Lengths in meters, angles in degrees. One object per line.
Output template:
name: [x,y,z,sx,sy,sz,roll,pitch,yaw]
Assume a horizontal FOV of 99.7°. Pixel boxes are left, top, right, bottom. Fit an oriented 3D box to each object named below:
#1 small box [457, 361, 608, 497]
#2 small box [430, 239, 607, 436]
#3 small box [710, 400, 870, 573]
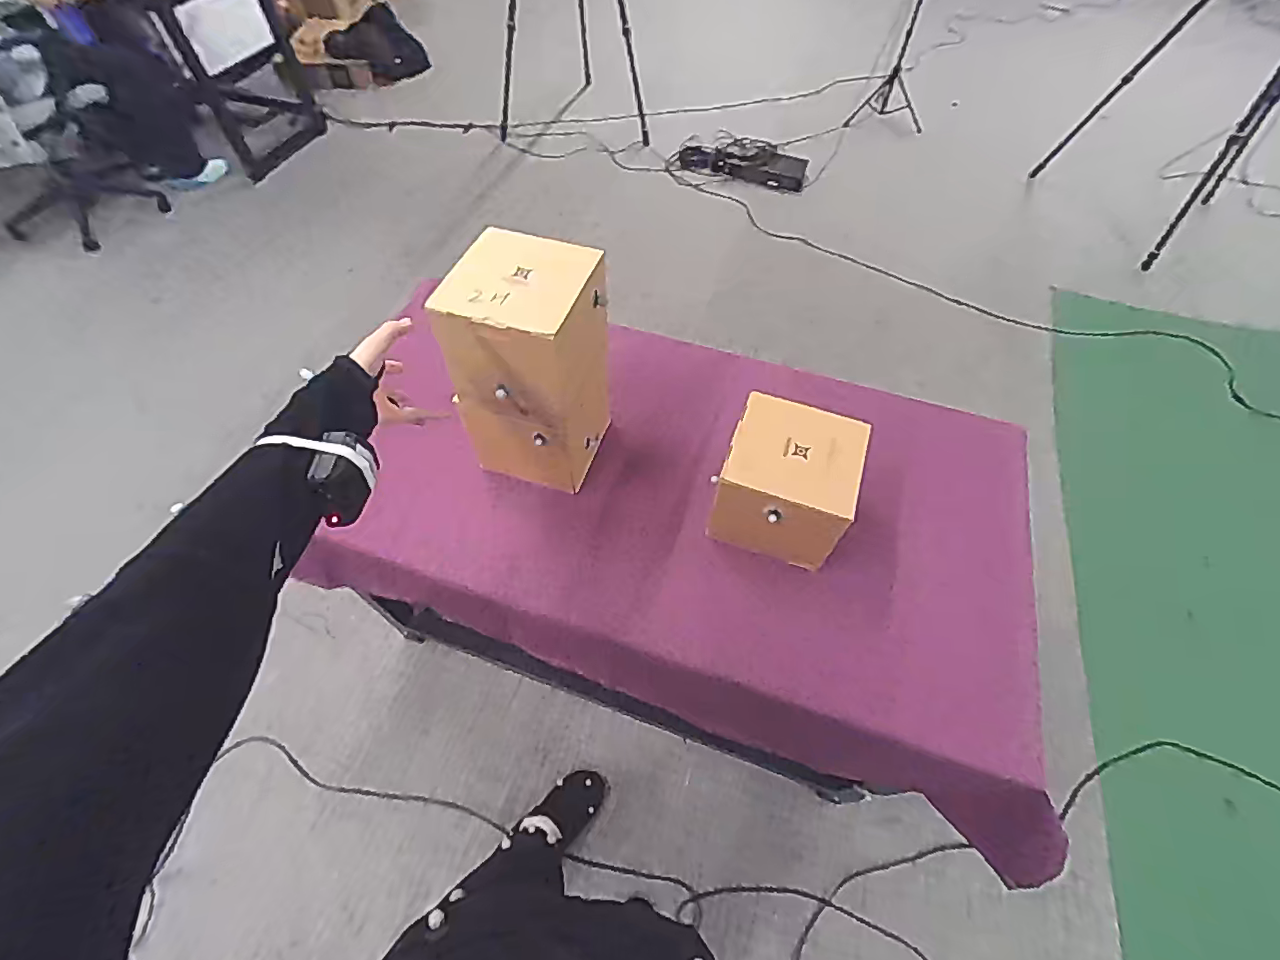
small box: [-0.159,-0.095,0.869,0.179,0.176,0.168,15,57,8]
small box: [-0.149,-0.190,0.734,0.168,0.176,0.179,15,56,9]
small box: [0.212,0.015,0.796,0.179,0.176,0.168,18,58,11]
